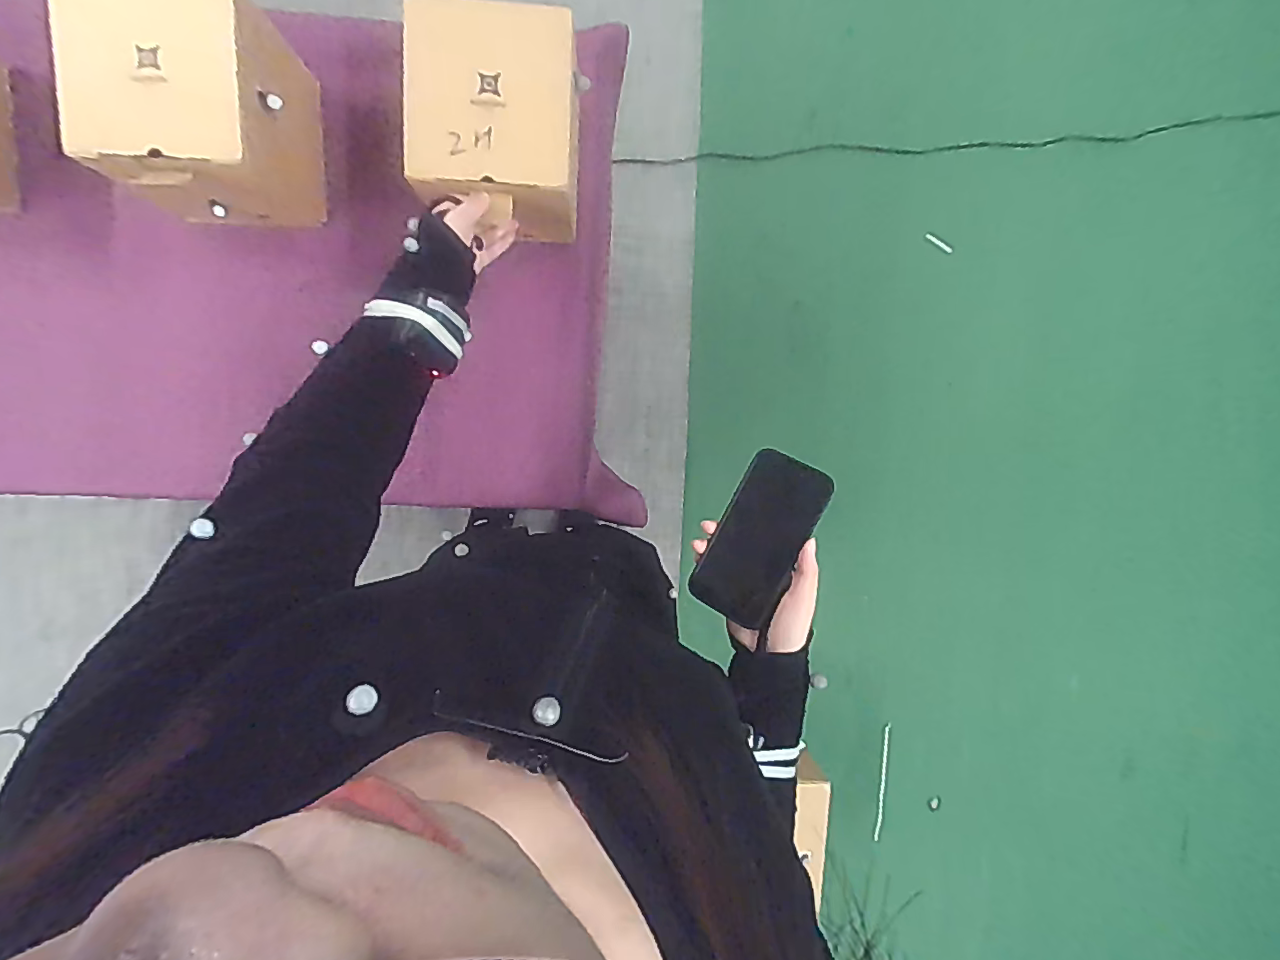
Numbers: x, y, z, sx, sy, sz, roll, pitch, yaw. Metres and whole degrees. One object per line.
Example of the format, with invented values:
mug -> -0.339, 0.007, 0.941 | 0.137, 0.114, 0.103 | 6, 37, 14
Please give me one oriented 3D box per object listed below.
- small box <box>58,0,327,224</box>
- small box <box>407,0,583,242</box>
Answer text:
small box -> -0.471, -0.407, 0.597 | 0.168, 0.176, 0.179 | 0, 96, -5
small box -> -0.153, -0.396, 0.619 | 0.168, 0.176, 0.179 | 2, 96, -4
